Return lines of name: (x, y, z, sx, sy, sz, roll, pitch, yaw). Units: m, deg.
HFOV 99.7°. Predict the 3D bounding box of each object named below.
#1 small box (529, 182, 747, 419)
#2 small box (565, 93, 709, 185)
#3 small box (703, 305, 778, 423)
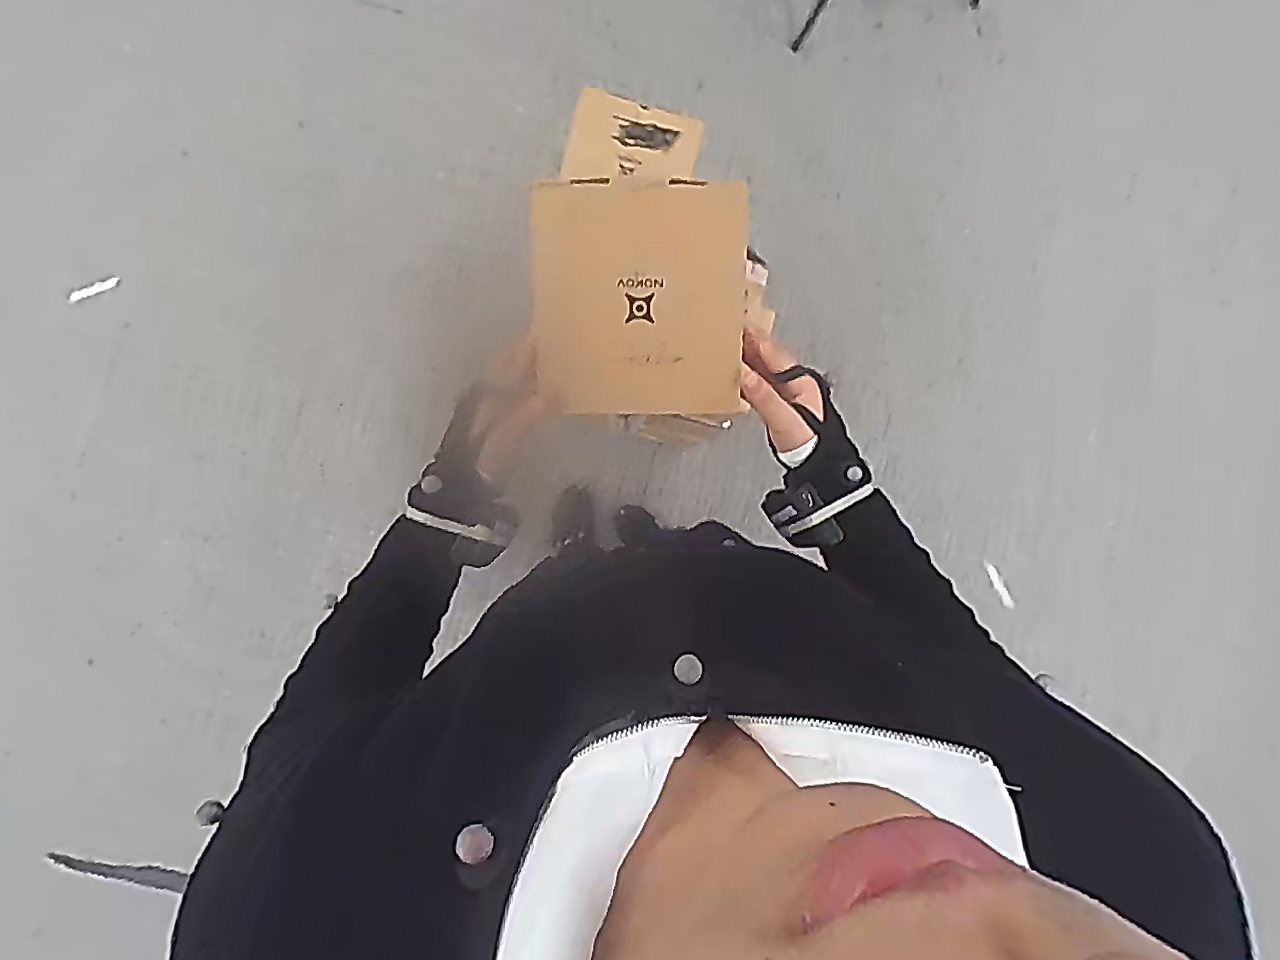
small box: (-0.004, -0.152, 0.496, 0.168, 0.176, 0.179, -1, 104, -1)
small box: (-0.013, -0.397, 0.781, 0.168, 0.176, 0.179, 15, 90, -2)
small box: (0.120, -0.207, 0.953, 0.168, 0.176, 0.179, 16, 89, -5)
